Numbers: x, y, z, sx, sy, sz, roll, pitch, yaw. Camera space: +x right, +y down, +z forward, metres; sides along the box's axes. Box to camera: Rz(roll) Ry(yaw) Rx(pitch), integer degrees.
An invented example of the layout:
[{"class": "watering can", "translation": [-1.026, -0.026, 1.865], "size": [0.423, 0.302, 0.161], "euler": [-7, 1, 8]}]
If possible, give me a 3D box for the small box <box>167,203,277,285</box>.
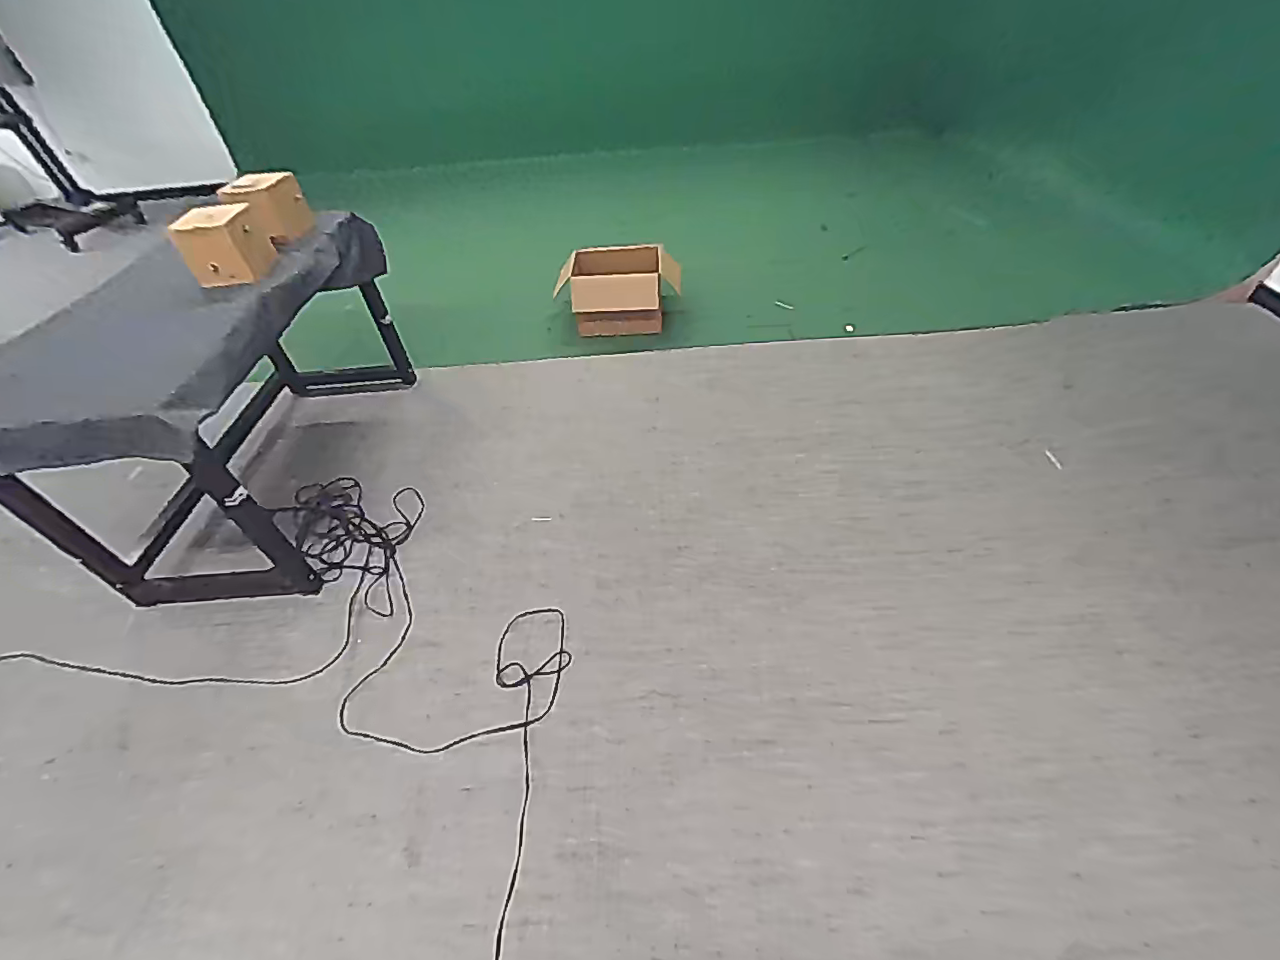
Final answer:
[{"class": "small box", "translation": [-1.218, -0.696, 1.596], "size": [0.168, 0.176, 0.179], "euler": [-6, 46, -1]}]
